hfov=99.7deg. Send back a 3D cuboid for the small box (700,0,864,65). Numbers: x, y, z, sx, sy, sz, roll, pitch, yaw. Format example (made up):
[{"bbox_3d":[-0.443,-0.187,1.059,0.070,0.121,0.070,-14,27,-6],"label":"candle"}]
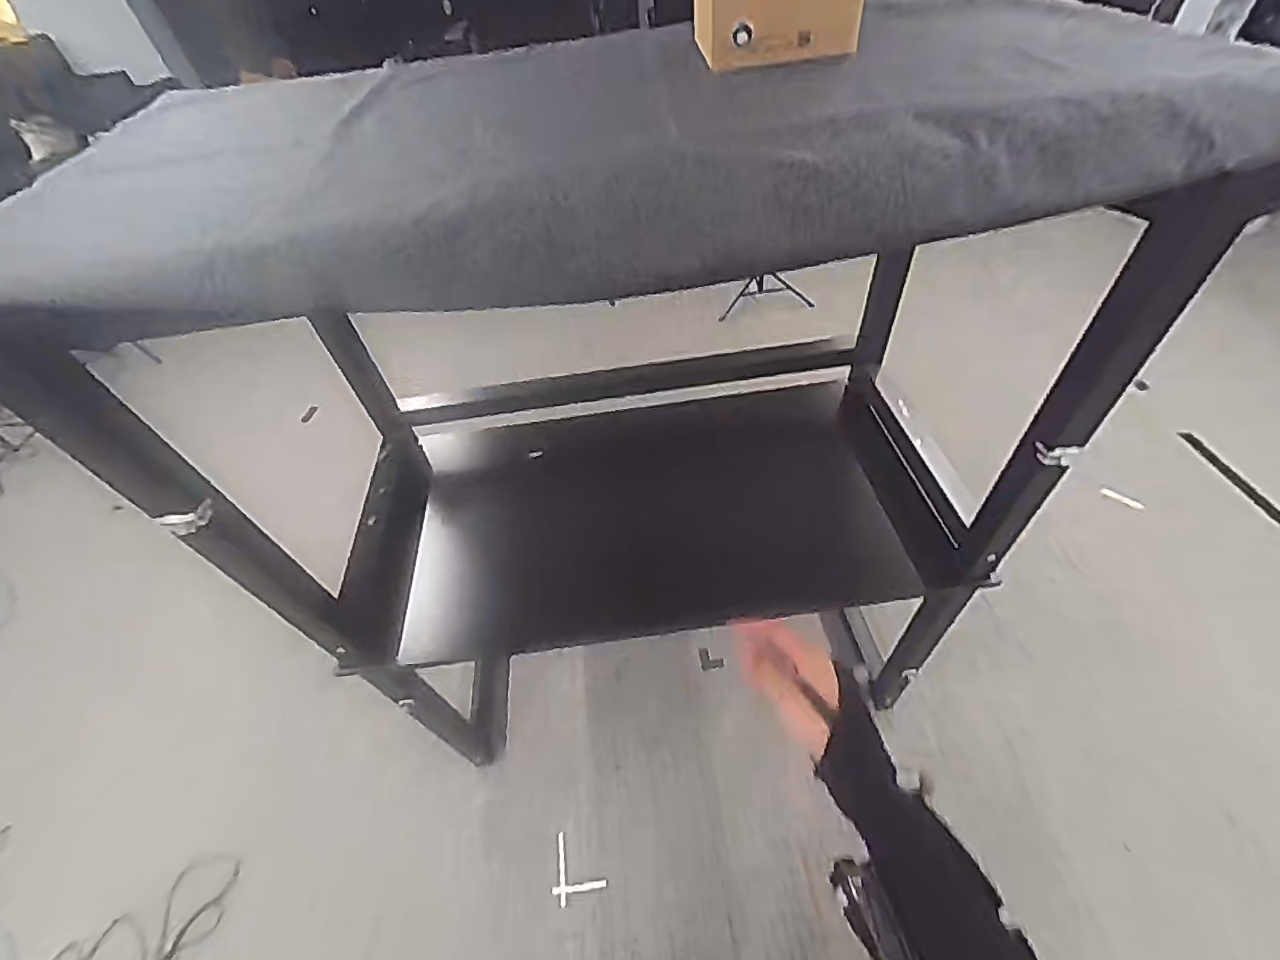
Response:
[{"bbox_3d":[0.158,-0.595,0.615,0.168,0.176,0.179,-5,48,2],"label":"small box"}]
